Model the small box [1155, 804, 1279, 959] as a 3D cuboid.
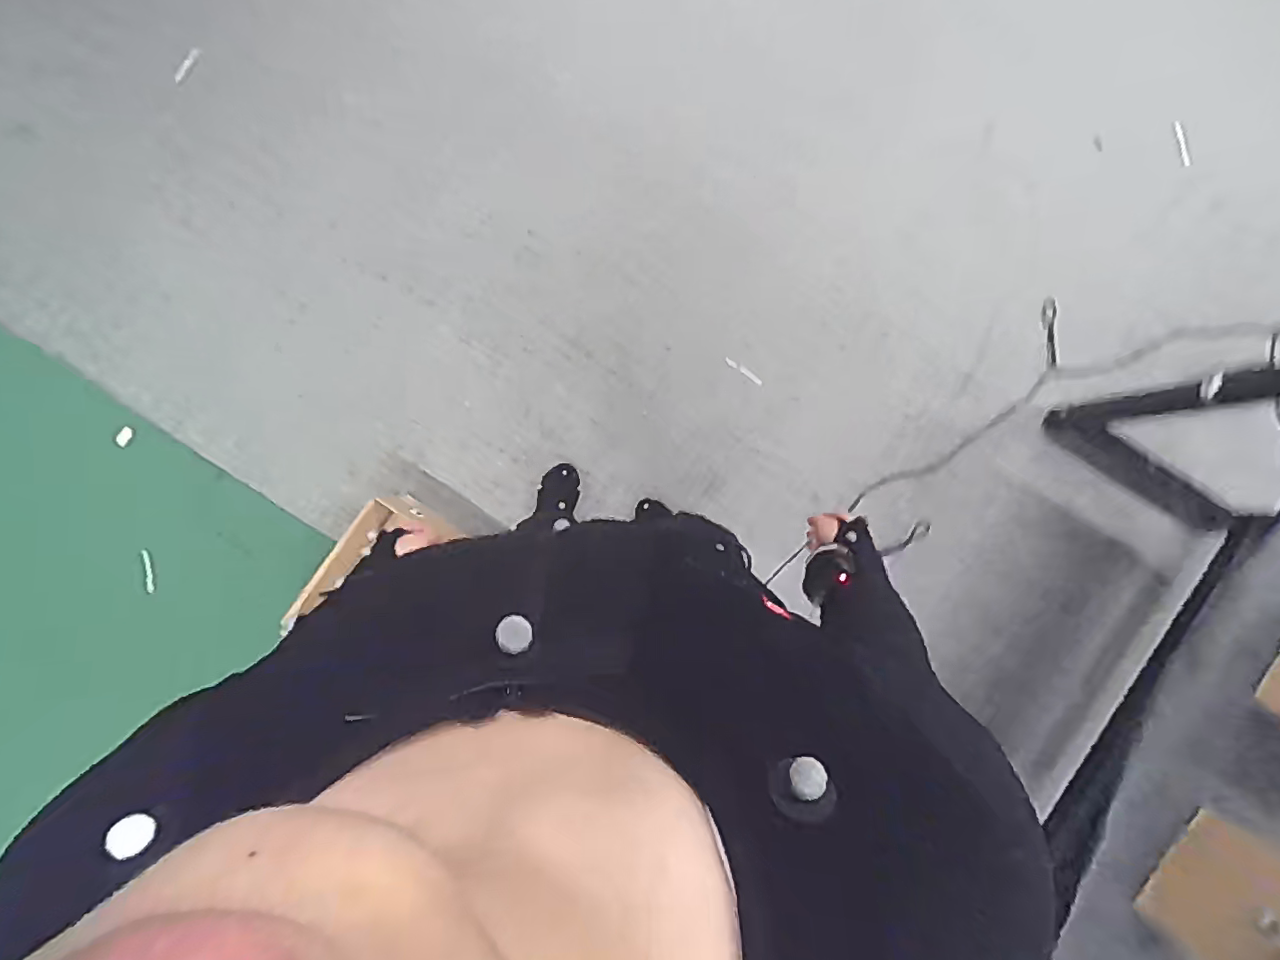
[{"bbox_3d":[0.818,0.556,0.673,0.168,0.176,0.179,36,90,0],"label":"small box"}]
